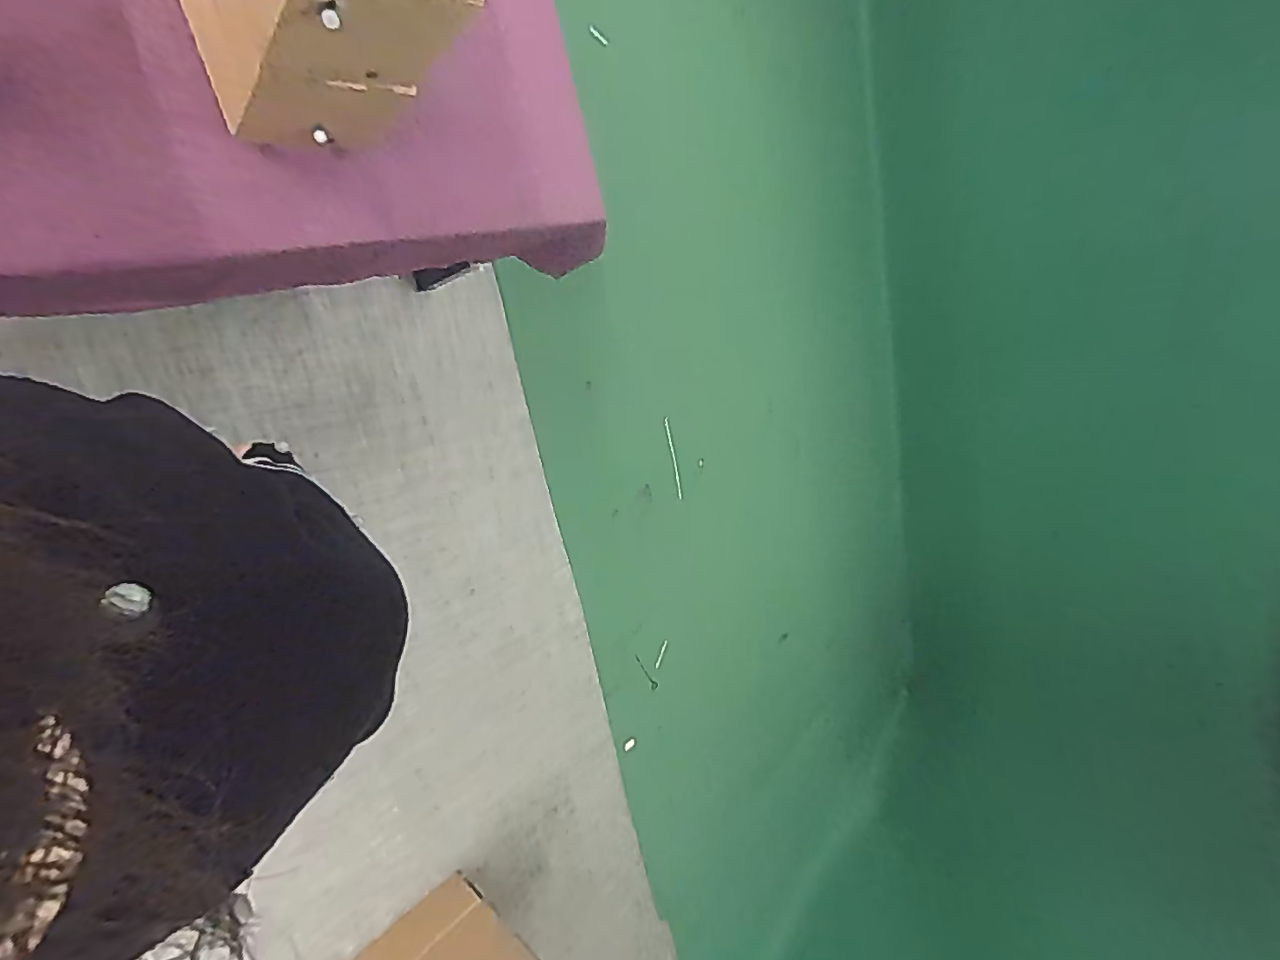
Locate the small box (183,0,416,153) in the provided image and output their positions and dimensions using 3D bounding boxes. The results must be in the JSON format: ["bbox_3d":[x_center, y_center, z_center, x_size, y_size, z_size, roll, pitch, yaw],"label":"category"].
[{"bbox_3d":[-0.394,-0.508,0.620,0.168,0.176,0.179,-27,111,-40],"label":"small box"}]
